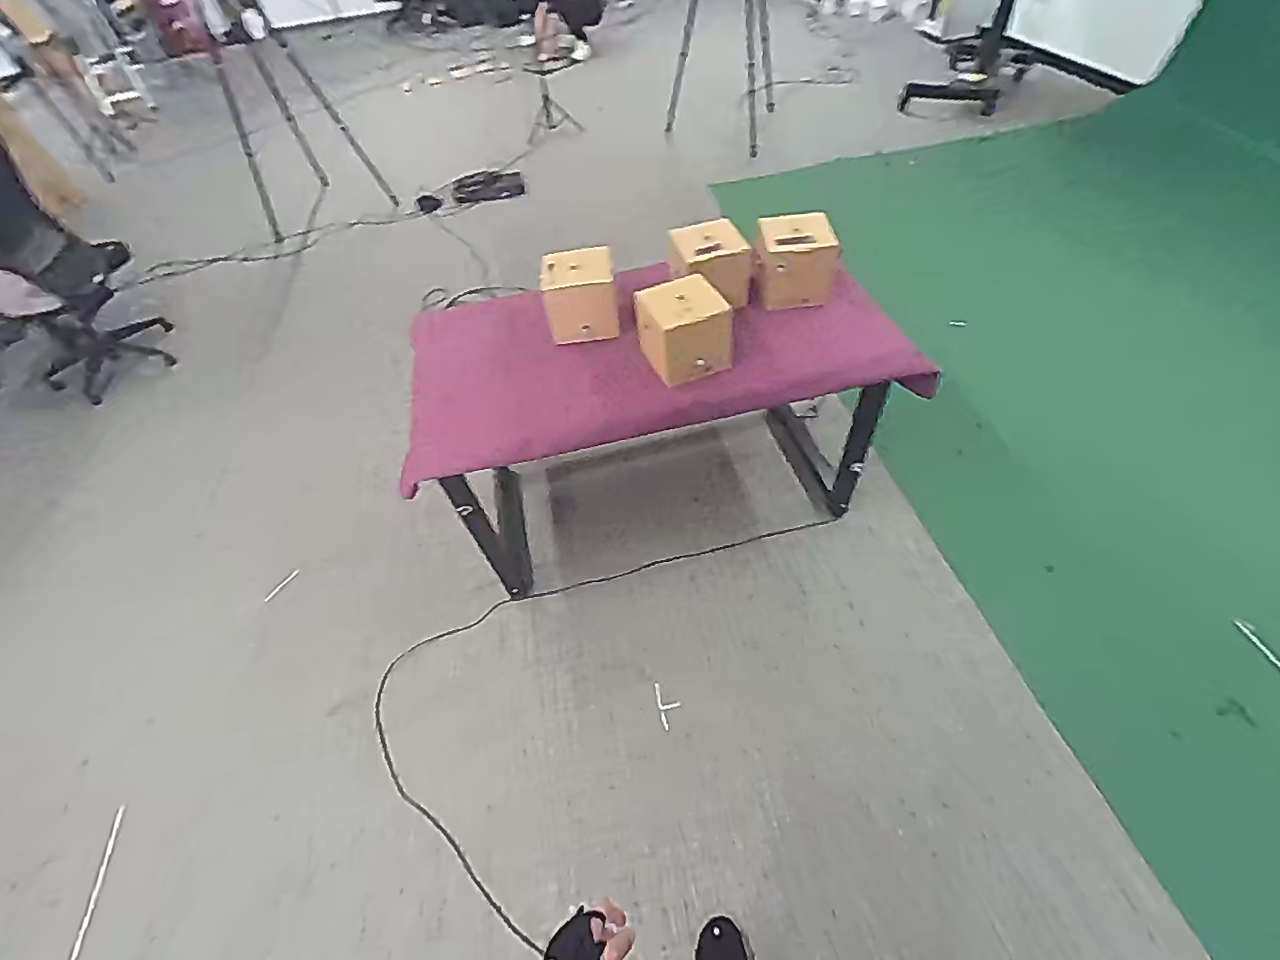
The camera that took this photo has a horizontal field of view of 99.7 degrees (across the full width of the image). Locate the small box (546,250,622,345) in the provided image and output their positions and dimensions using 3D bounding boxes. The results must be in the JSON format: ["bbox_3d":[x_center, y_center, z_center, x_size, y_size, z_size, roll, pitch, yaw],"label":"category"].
[{"bbox_3d":[-0.141,-0.477,1.423,0.179,0.176,0.168,-6,51,2],"label":"small box"}]

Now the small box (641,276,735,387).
[{"bbox_3d":[0.113,-0.352,1.290,0.168,0.176,0.179,-20,51,-8],"label":"small box"}]
